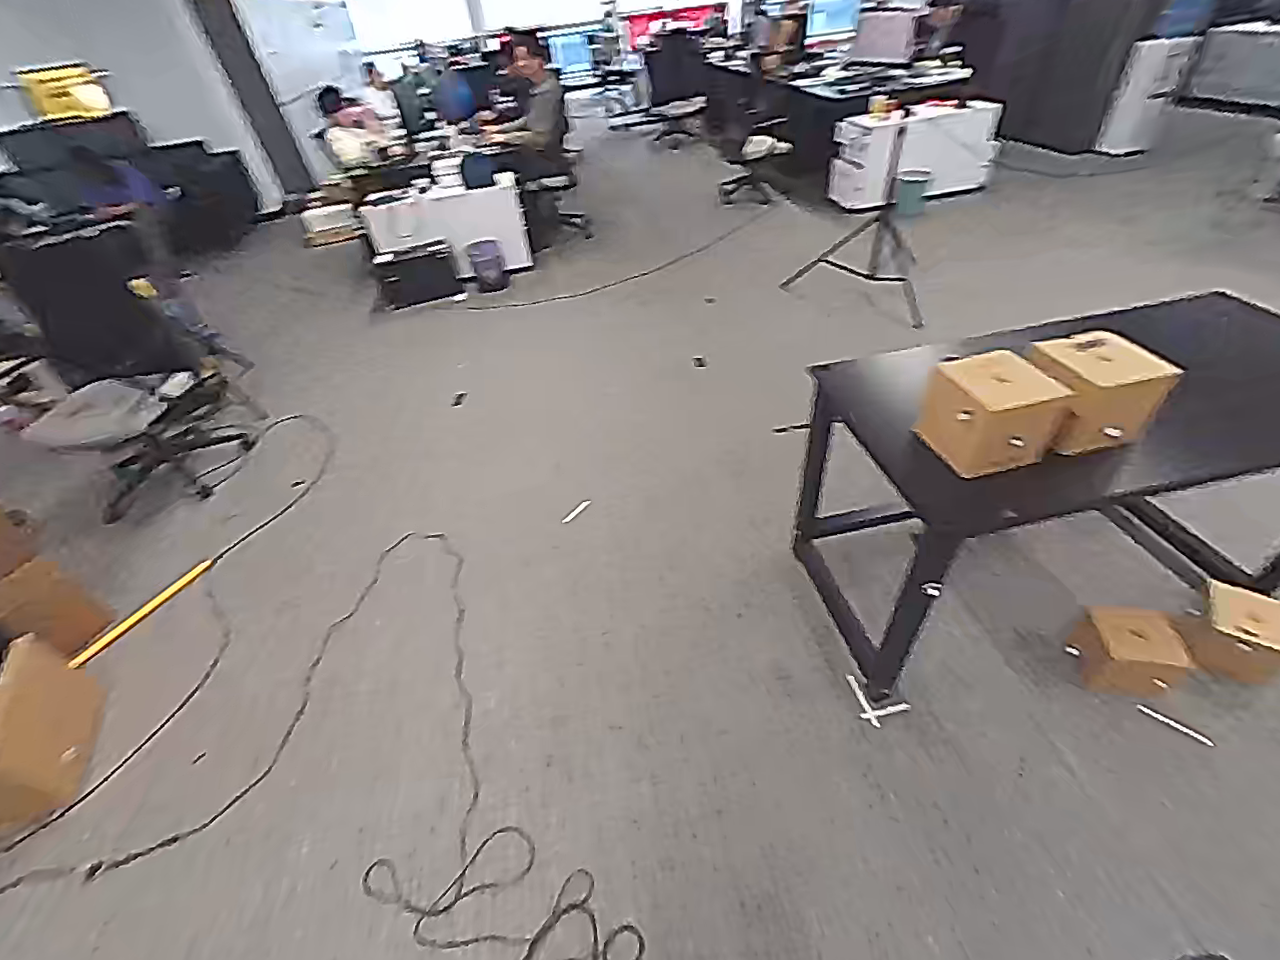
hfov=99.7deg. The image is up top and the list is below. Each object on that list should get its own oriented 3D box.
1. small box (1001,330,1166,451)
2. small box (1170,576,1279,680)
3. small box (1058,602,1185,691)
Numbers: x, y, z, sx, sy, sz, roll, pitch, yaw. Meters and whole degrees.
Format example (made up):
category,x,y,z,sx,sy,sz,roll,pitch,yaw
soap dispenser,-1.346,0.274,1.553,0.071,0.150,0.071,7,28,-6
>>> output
category,x,y,z,sx,sy,sz,roll,pitch,yaw
small box,0.902,-0.186,1.123,0.168,0.176,0.179,-12,43,-4
small box,1.583,0.401,1.462,0.168,0.176,0.179,19,49,27
small box,1.284,0.451,1.458,0.179,0.176,0.168,2,42,12
